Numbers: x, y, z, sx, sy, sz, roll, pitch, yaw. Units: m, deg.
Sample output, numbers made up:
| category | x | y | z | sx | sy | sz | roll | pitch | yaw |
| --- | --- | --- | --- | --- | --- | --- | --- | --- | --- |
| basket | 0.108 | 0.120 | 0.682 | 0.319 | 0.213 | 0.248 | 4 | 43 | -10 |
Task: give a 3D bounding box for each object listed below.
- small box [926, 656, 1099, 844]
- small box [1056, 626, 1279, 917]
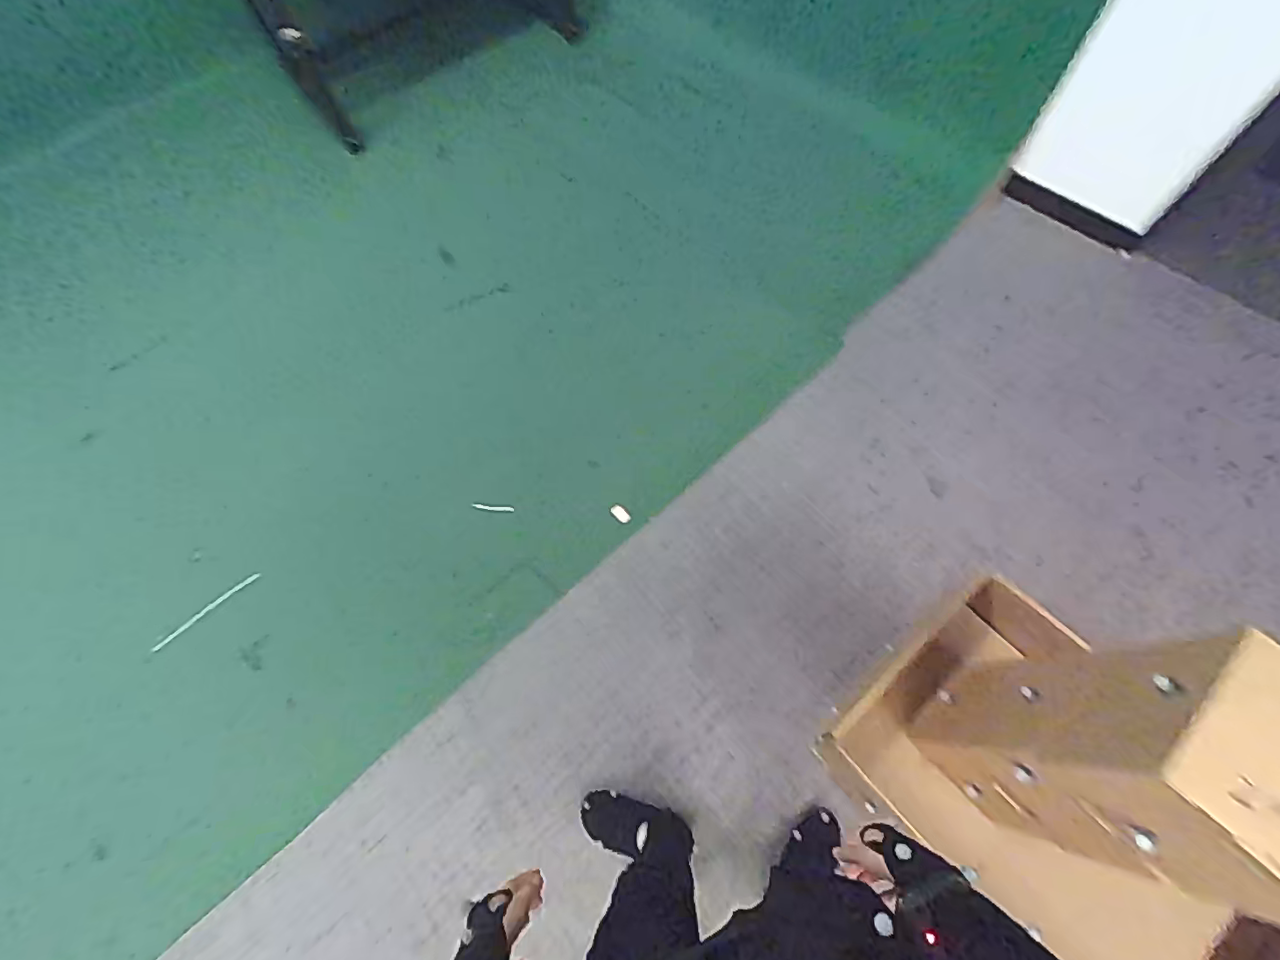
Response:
| category | x | y | z | sx | sy | sz | roll | pitch | yaw |
| --- | --- | --- | --- | --- | --- | --- | --- | --- | --- |
| small box | 0.566 | 0.391 | 0.810 | 0.179 | 0.176 | 0.168 | -41 | 72 | -12 |
| small box | 0.551 | 0.266 | 0.506 | 0.179 | 0.176 | 0.168 | -41 | 70 | -13 |
